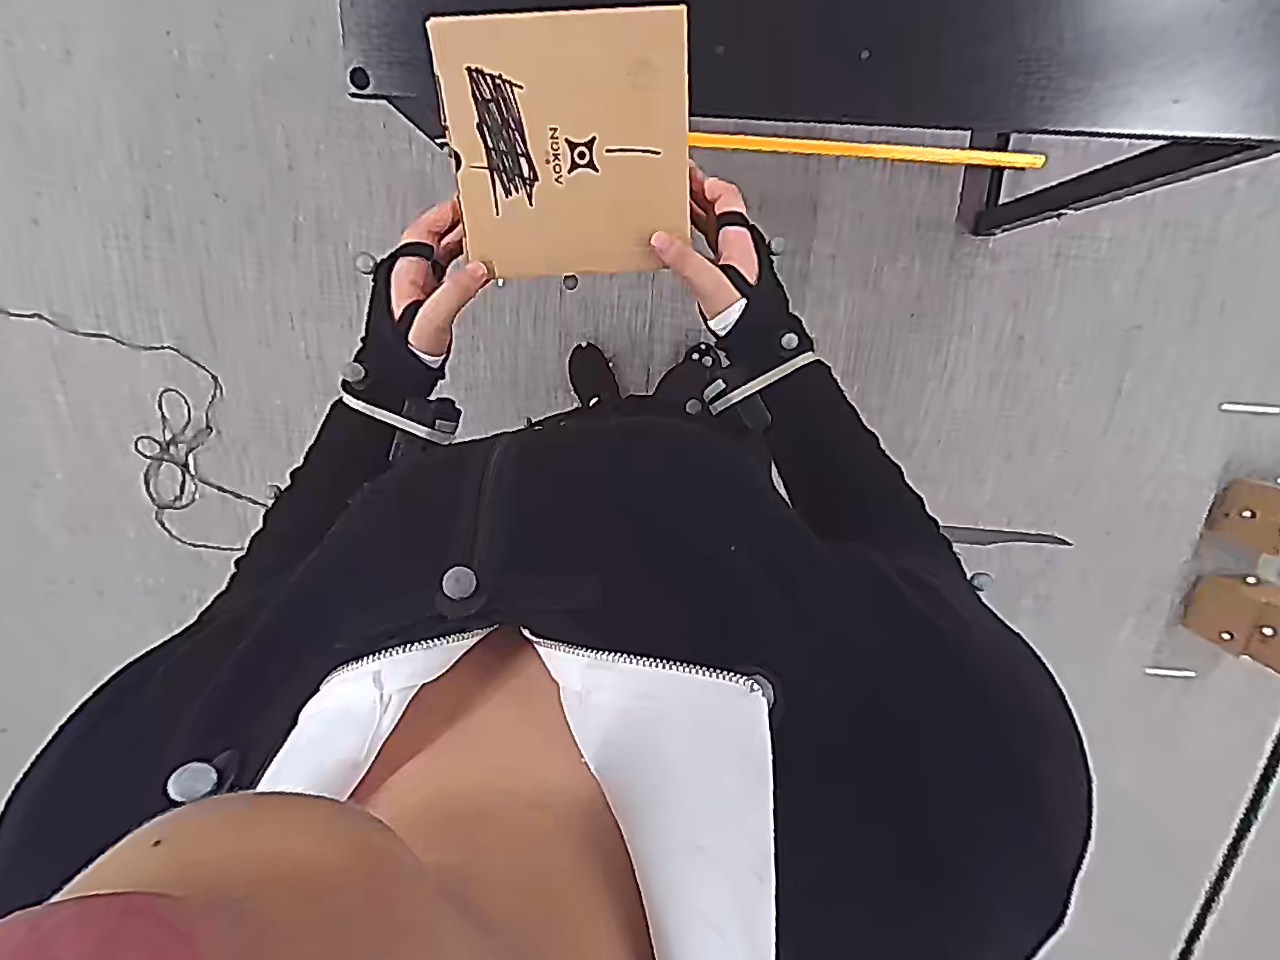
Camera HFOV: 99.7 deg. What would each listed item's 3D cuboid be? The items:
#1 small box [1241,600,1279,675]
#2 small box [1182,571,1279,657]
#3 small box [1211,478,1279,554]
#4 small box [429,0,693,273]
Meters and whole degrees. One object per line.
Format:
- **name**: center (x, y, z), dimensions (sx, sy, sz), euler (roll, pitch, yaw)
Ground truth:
- **small box**: center (1.683, 0.412, 1.338), dimensions (0.179, 0.176, 0.168), euler (5, 105, 1)
- **small box**: center (1.674, 0.372, 1.495), dimensions (0.168, 0.176, 0.179), euler (2, 106, 0)
- **small box**: center (1.683, 0.096, 1.418), dimensions (0.179, 0.176, 0.168), euler (6, 105, 0)
- **small box**: center (-0.051, -0.268, 0.456), dimensions (0.179, 0.176, 0.168), euler (-4, 115, -1)
